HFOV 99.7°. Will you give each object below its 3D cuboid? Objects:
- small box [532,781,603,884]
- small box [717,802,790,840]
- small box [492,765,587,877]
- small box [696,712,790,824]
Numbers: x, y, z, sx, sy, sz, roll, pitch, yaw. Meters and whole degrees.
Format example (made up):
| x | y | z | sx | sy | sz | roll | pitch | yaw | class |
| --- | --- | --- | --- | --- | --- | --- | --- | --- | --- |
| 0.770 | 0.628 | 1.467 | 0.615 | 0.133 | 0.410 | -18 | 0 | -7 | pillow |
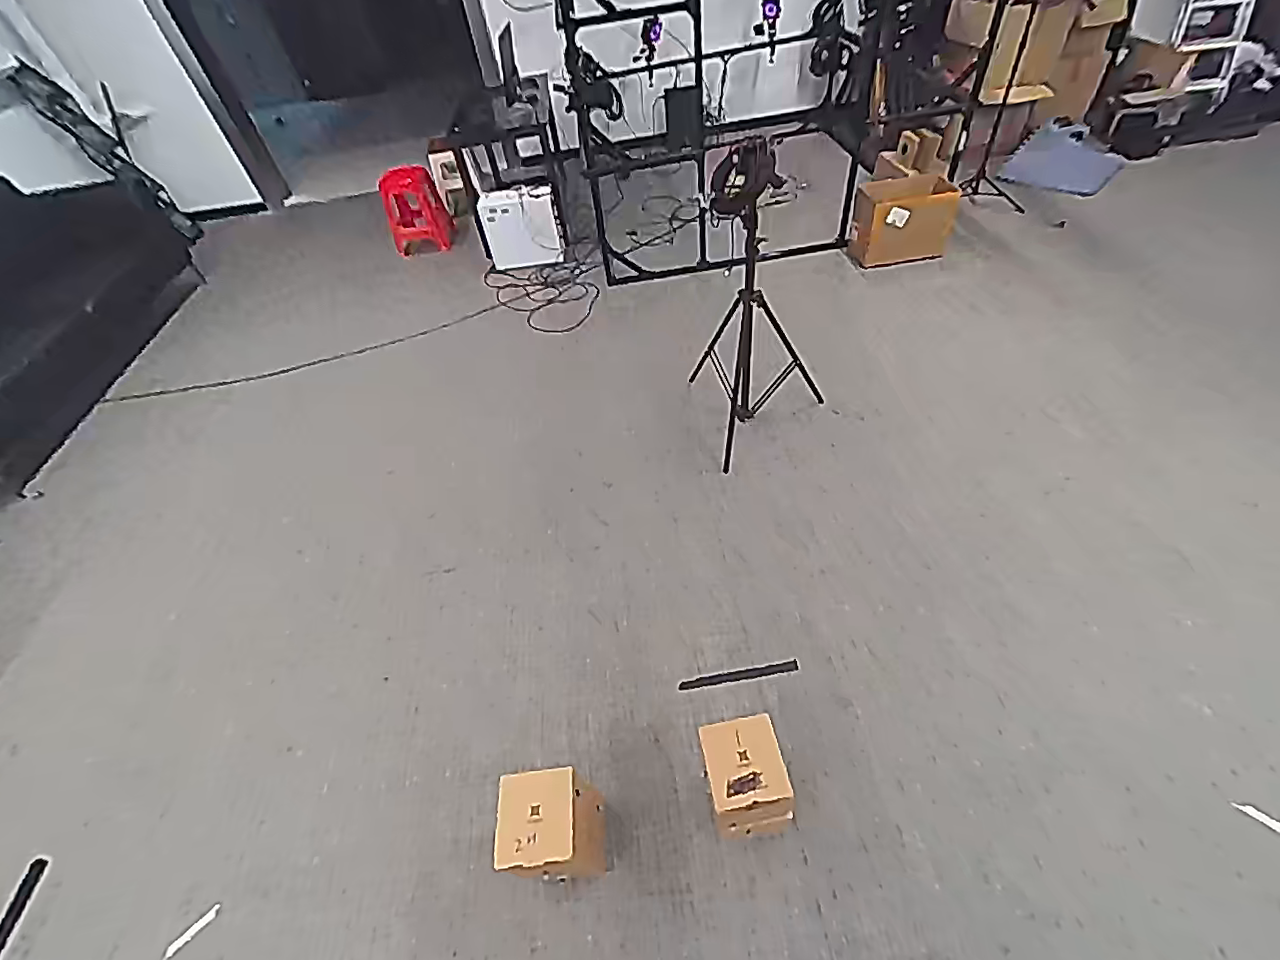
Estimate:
| x | y | z | sx | sy | sz | roll | pitch | yaw | class |
| --- | --- | --- | --- | --- | --- | --- | --- | --- | --- |
| -0.187 | 0.861 | 1.320 | 0.168 | 0.176 | 0.179 | -8 | 47 | 3 | small box |
| 0.260 | 0.768 | 1.335 | 0.168 | 0.176 | 0.179 | -11 | 46 | -1 | small box |
| -0.214 | 0.756 | 1.197 | 0.168 | 0.176 | 0.179 | -9 | 48 | 3 | small box |
| 0.228 | 0.655 | 1.219 | 0.168 | 0.176 | 0.179 | -11 | 46 | -1 | small box |
